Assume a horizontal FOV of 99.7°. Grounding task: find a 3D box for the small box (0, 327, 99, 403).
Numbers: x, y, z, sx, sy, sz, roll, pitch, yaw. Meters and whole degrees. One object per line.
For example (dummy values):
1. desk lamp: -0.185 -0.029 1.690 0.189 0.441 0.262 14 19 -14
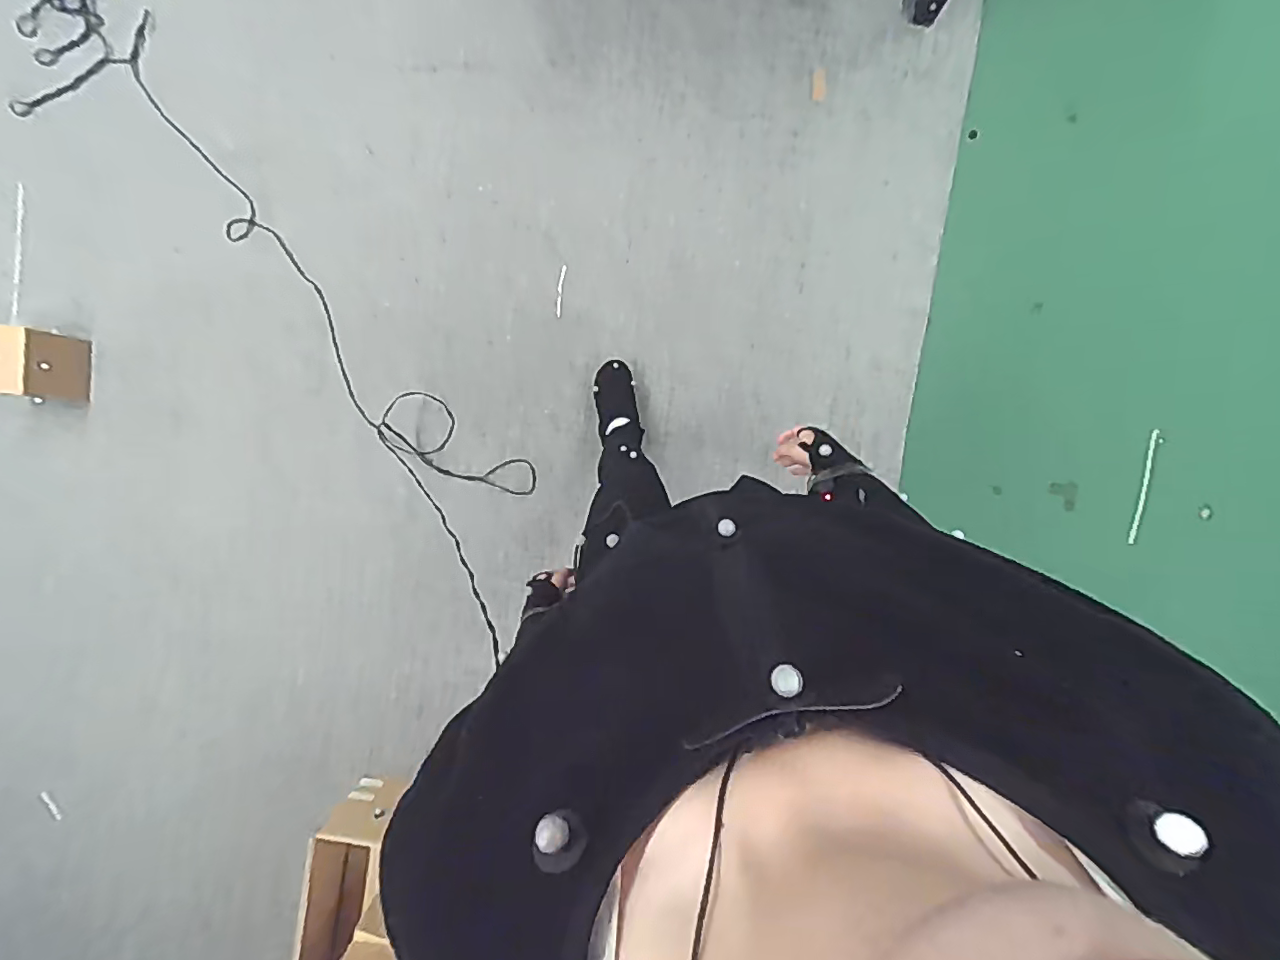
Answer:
1. small box: -1.617 -0.305 1.452 0.168 0.176 0.179 7 92 1
